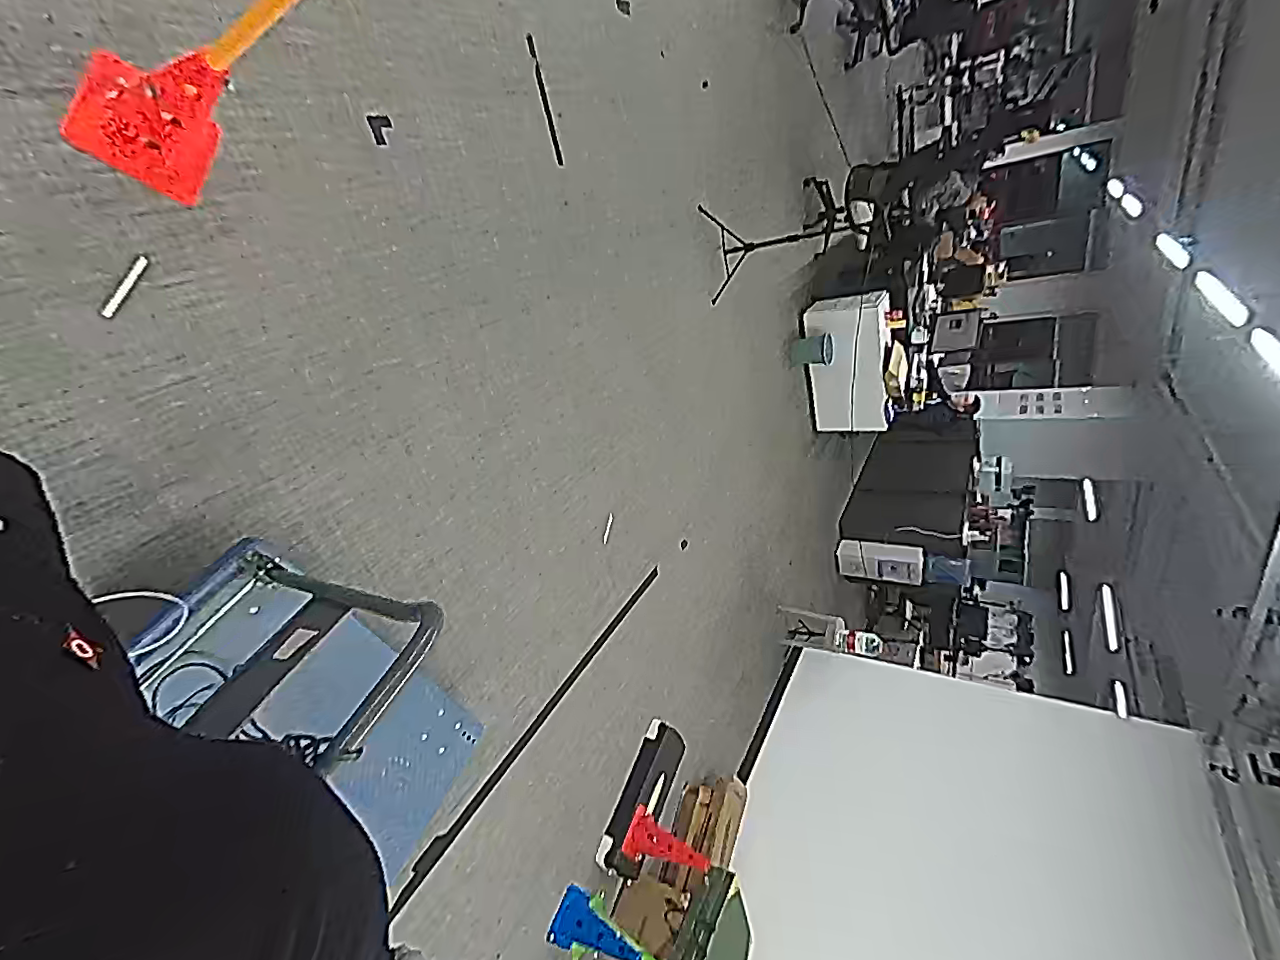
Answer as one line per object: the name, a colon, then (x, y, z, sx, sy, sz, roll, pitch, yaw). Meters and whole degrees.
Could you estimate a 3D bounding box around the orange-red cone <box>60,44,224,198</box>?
orange-red cone: (-0.816, -0.671, 0.948, 0.198, 0.360, 0.199, 27, 71, -53)
